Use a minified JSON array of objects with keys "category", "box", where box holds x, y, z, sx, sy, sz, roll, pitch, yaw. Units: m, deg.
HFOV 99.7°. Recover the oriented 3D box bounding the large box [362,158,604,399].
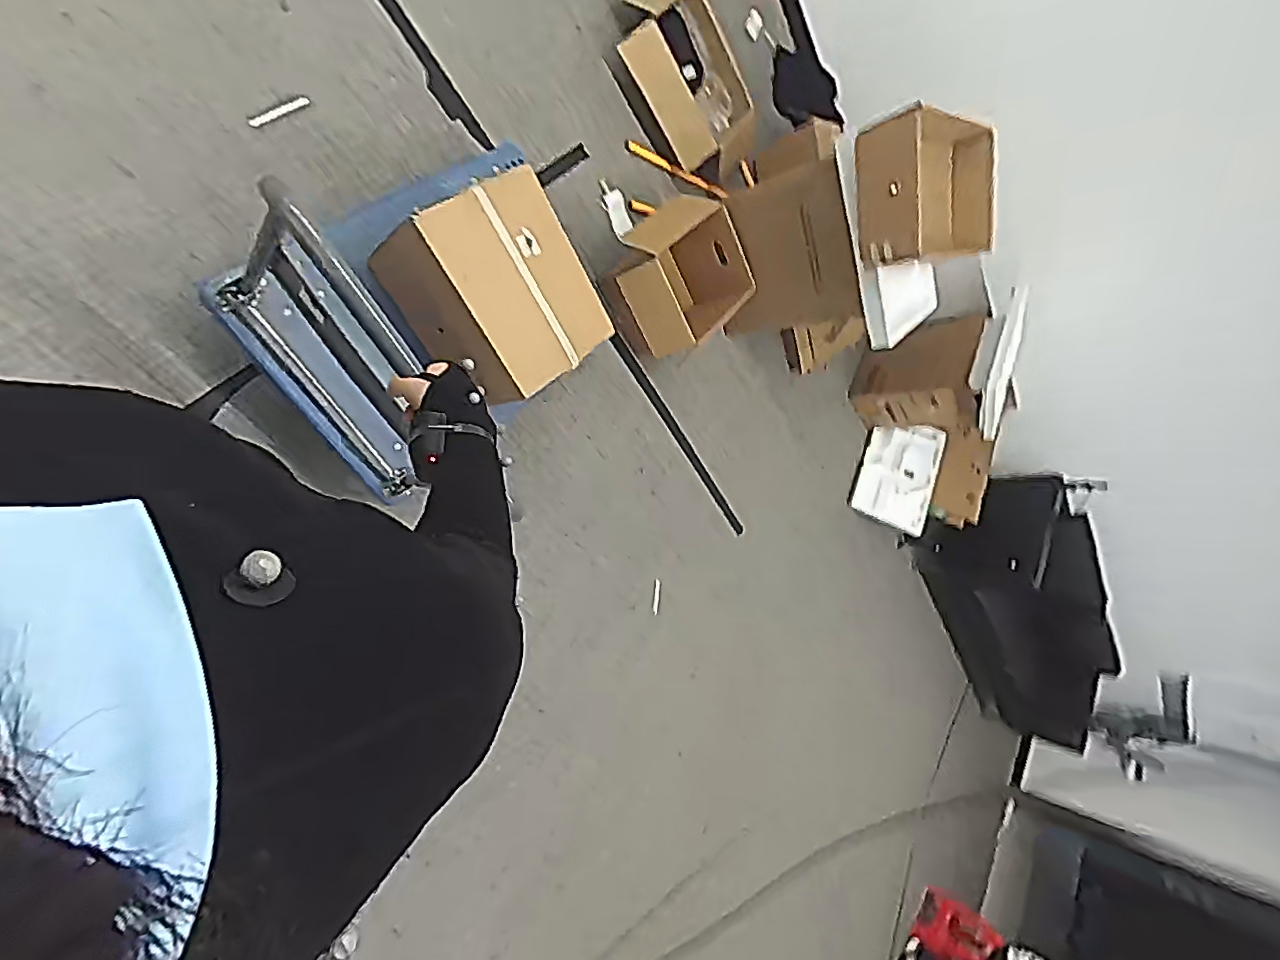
[{"category":"large box","box":[-0.364,-0.448,1.281,0.320,0.320,0.408,-46,120,-31]}]
